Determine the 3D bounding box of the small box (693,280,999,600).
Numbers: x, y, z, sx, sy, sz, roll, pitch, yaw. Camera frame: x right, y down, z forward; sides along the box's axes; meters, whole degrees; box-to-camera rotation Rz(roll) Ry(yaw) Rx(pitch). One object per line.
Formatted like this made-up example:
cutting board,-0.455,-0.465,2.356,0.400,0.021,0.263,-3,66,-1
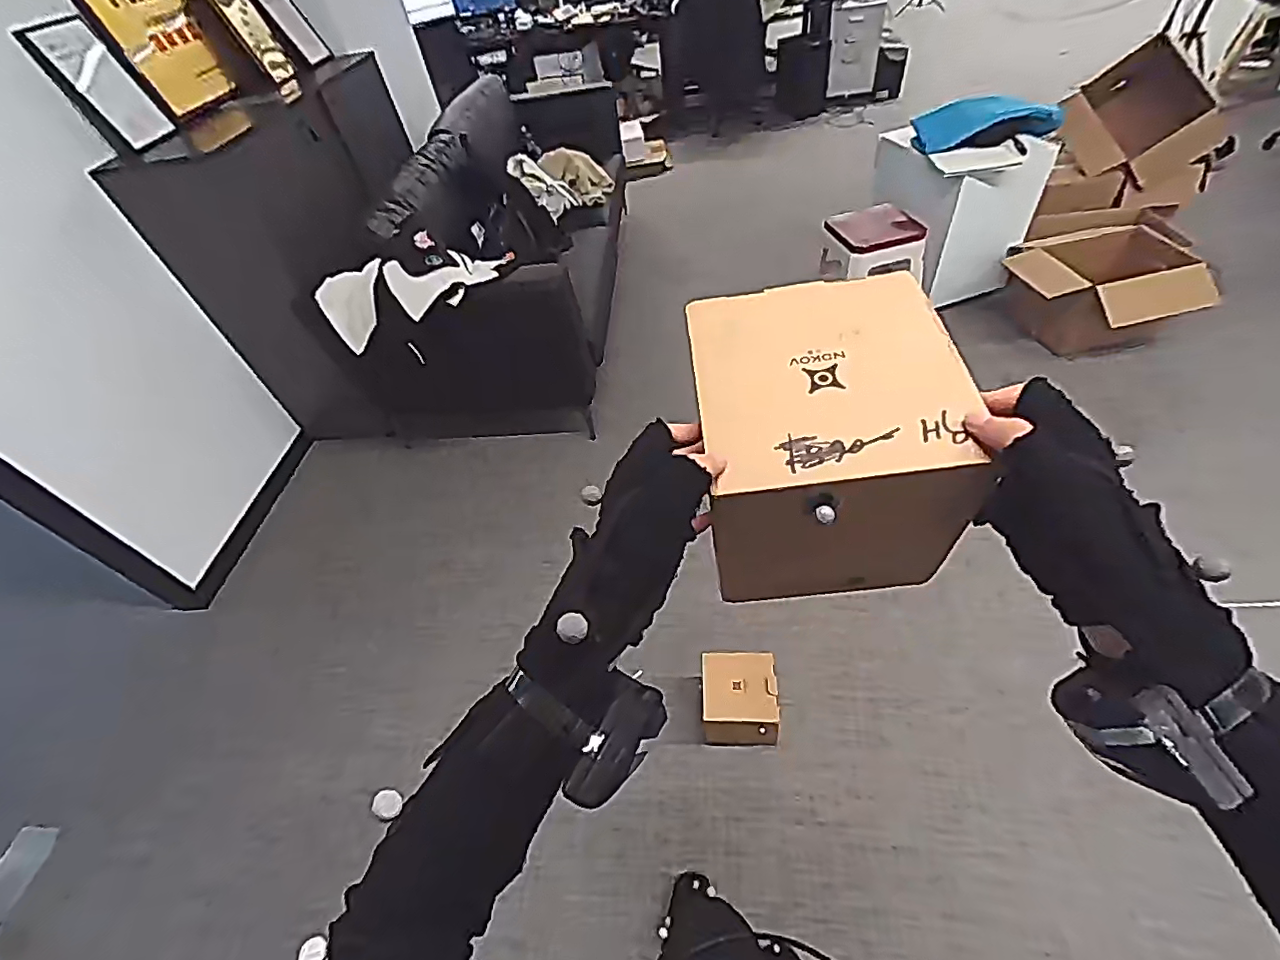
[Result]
small box,0.133,-0.025,0.424,0.168,0.176,0.179,-7,54,7

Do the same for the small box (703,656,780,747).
small box,0.250,0.553,1.345,0.179,0.176,0.168,-2,48,9
